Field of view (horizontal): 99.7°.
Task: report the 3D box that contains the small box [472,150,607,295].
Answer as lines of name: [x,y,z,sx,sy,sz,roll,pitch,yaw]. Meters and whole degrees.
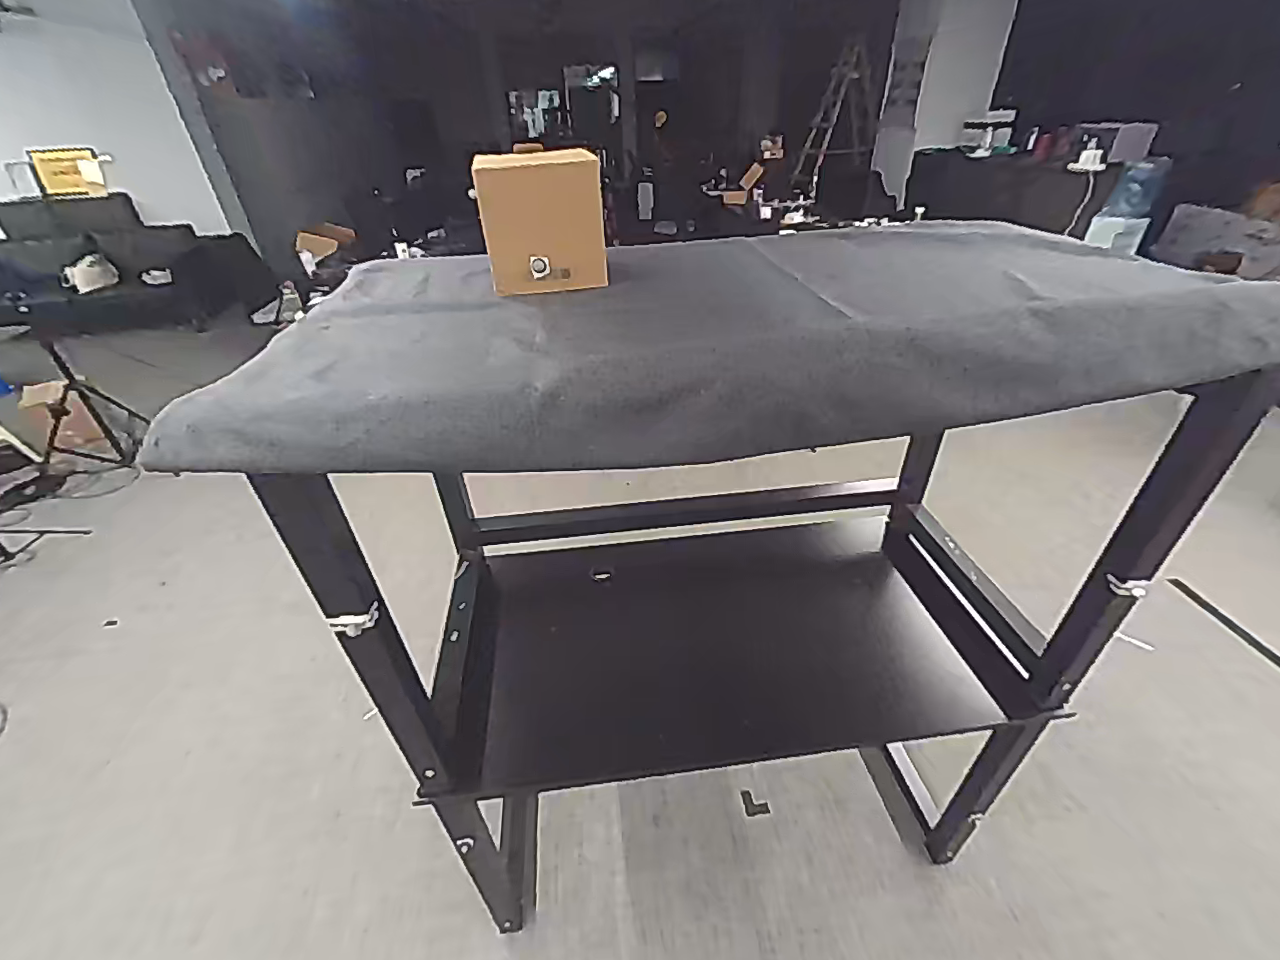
small box: [-0.146,-0.386,0.805,0.168,0.176,0.179,-10,36,-8]
